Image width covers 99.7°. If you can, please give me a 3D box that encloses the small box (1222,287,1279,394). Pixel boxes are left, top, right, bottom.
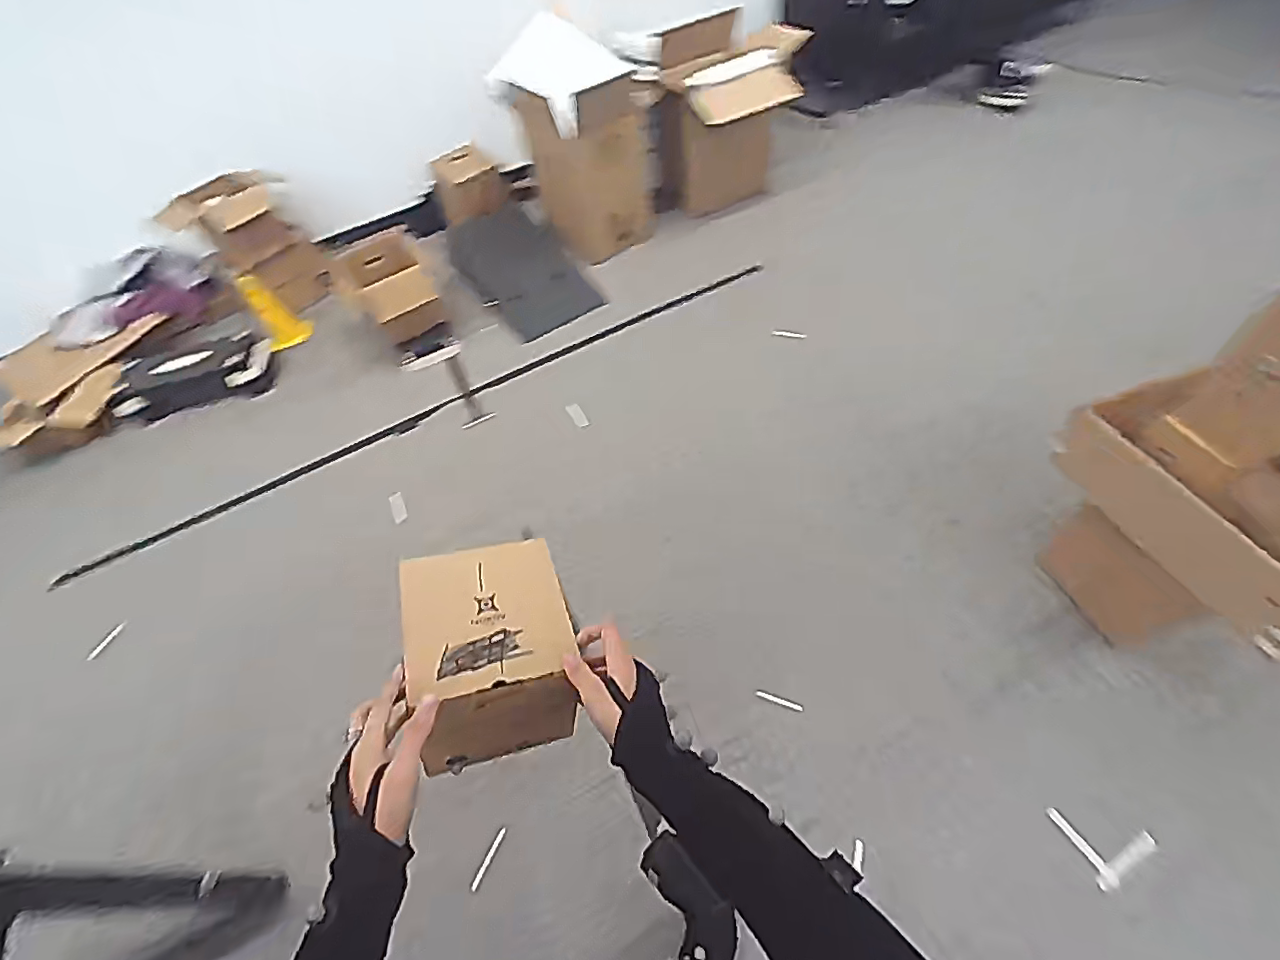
[{"bbox_3d":[1.245,-0.271,0.979,0.179,0.176,0.168,-20,52,-8],"label":"small box"}]

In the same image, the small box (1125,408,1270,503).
[{"bbox_3d":[1.278,-0.073,1.239,0.179,0.176,0.168,-20,54,-7],"label":"small box"}]

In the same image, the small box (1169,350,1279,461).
[{"bbox_3d":[1.267,-0.169,1.106,0.168,0.176,0.179,-19,53,-6],"label":"small box"}]
